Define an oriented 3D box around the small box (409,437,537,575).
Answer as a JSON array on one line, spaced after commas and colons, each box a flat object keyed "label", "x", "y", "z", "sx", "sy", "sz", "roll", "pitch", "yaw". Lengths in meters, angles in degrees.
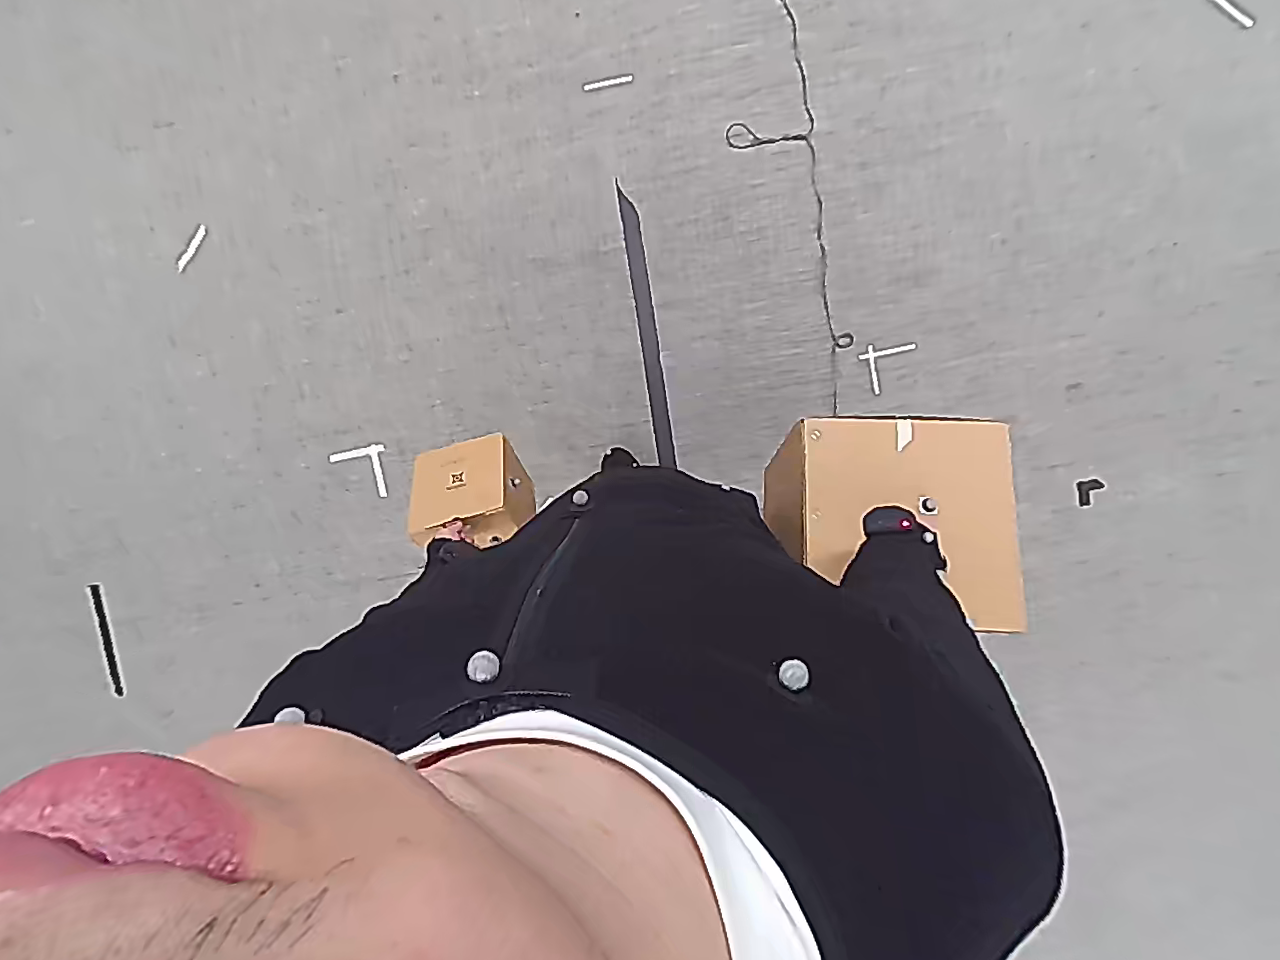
[{"label": "small box", "x": -0.293, "y": 0.056, "z": 0.985, "sx": 0.168, "sy": 0.176, "sz": 0.179, "roll": -15, "pitch": 49, "yaw": 2}]
